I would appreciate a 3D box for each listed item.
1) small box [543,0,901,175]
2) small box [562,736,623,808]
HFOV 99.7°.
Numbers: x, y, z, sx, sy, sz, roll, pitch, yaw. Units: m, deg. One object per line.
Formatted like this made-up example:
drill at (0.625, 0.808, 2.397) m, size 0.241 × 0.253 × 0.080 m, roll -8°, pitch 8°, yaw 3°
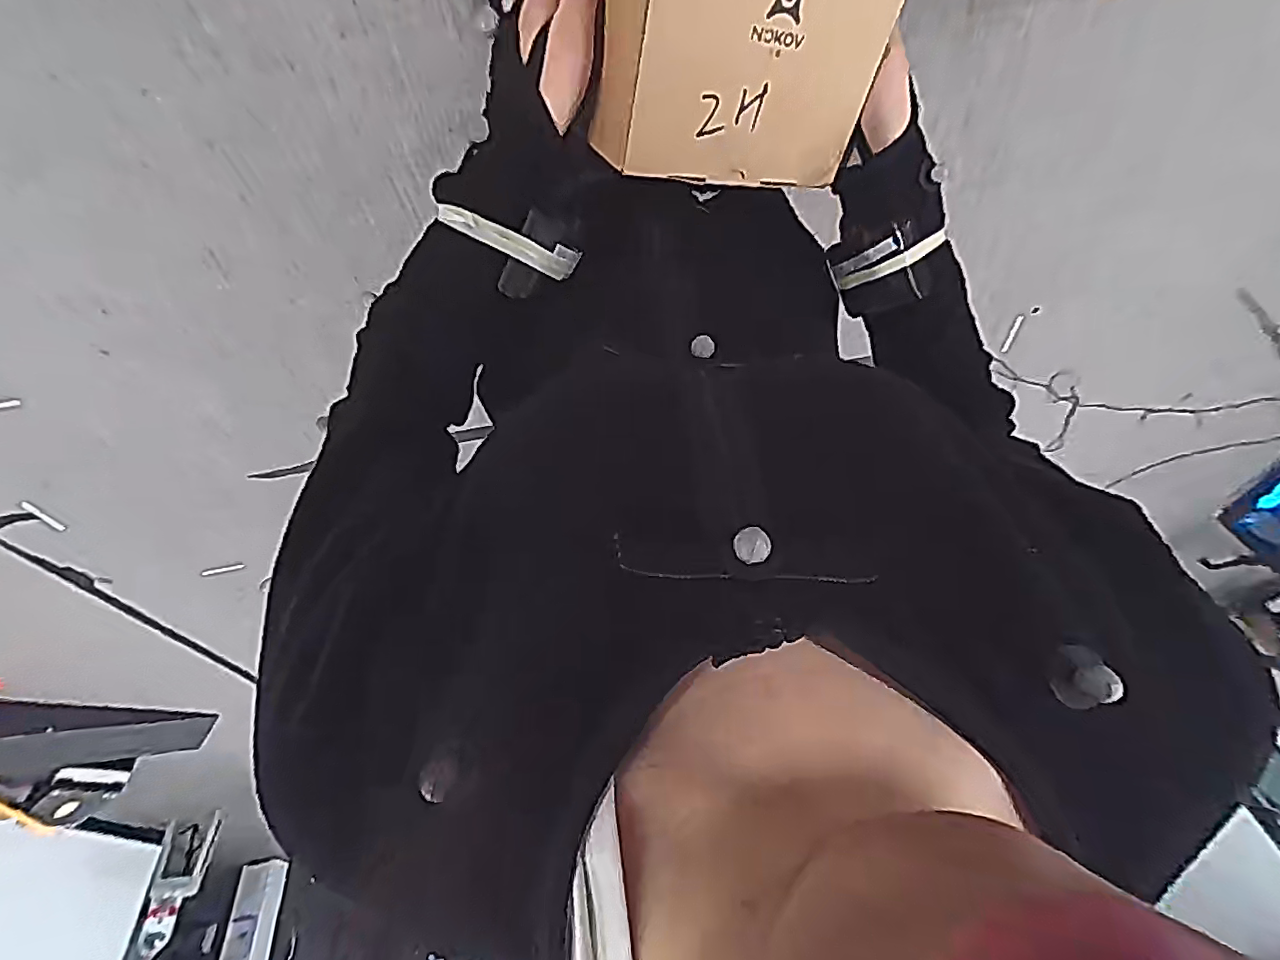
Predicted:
small box at (0.044, -0.317, 0.336) m, size 0.168 × 0.176 × 0.179 m, roll -10°, pitch 138°, yaw -24°
small box at (-0.162, 0.983, 1.827) m, size 0.179 × 0.176 × 0.168 m, roll -10°, pitch 138°, yaw -3°
